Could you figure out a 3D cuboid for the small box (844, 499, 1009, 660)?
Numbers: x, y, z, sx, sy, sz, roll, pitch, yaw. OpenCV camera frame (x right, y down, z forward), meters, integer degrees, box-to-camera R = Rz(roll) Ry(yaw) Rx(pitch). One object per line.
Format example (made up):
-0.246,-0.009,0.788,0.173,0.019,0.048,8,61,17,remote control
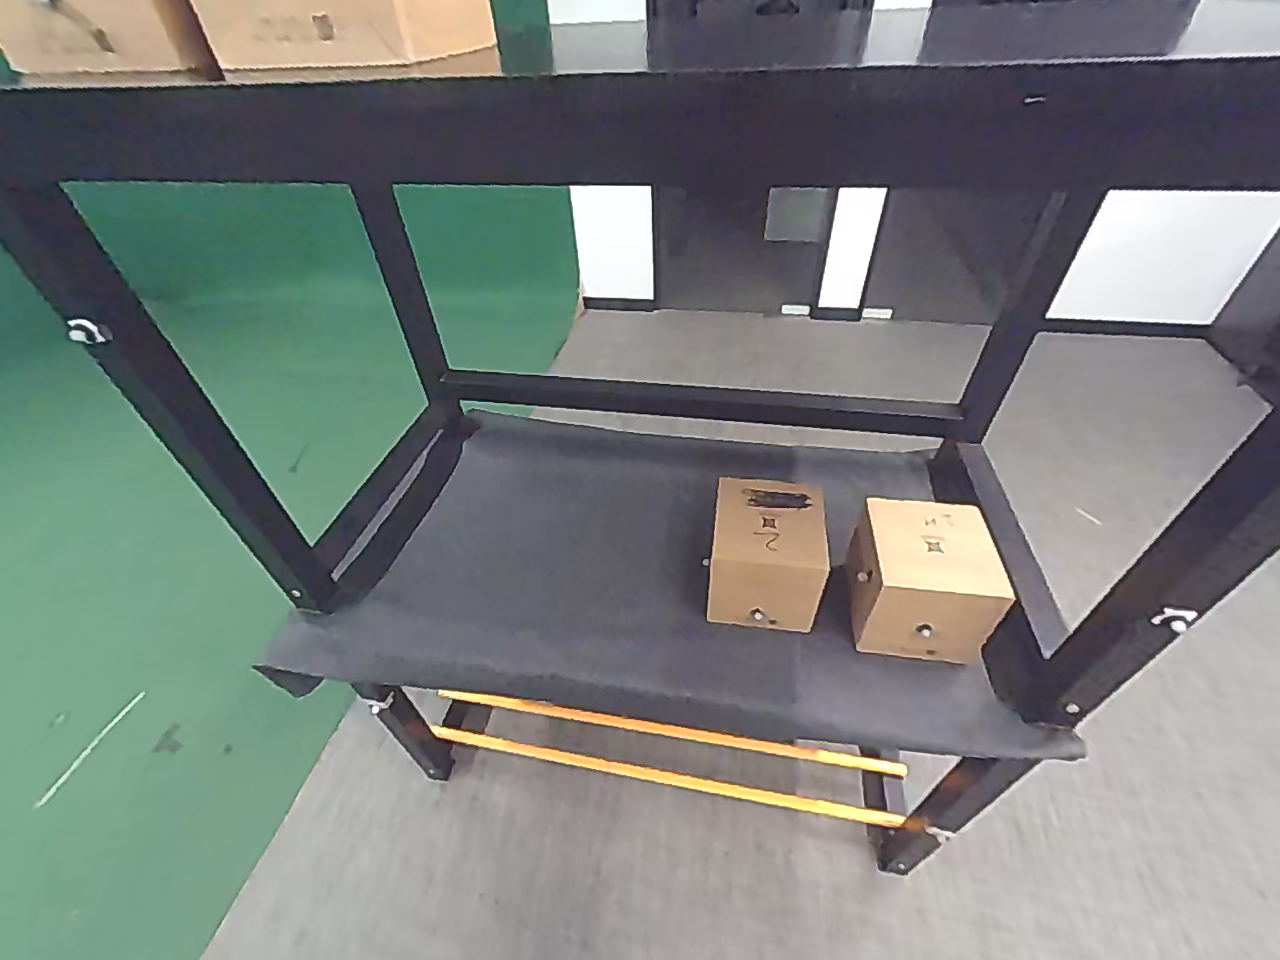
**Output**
0.423,0.153,0.832,0.168,0.176,0.179,4,41,8,small box

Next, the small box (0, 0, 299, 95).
-0.433,-0.444,0.460,0.168,0.176,0.179,5,44,9,small box
